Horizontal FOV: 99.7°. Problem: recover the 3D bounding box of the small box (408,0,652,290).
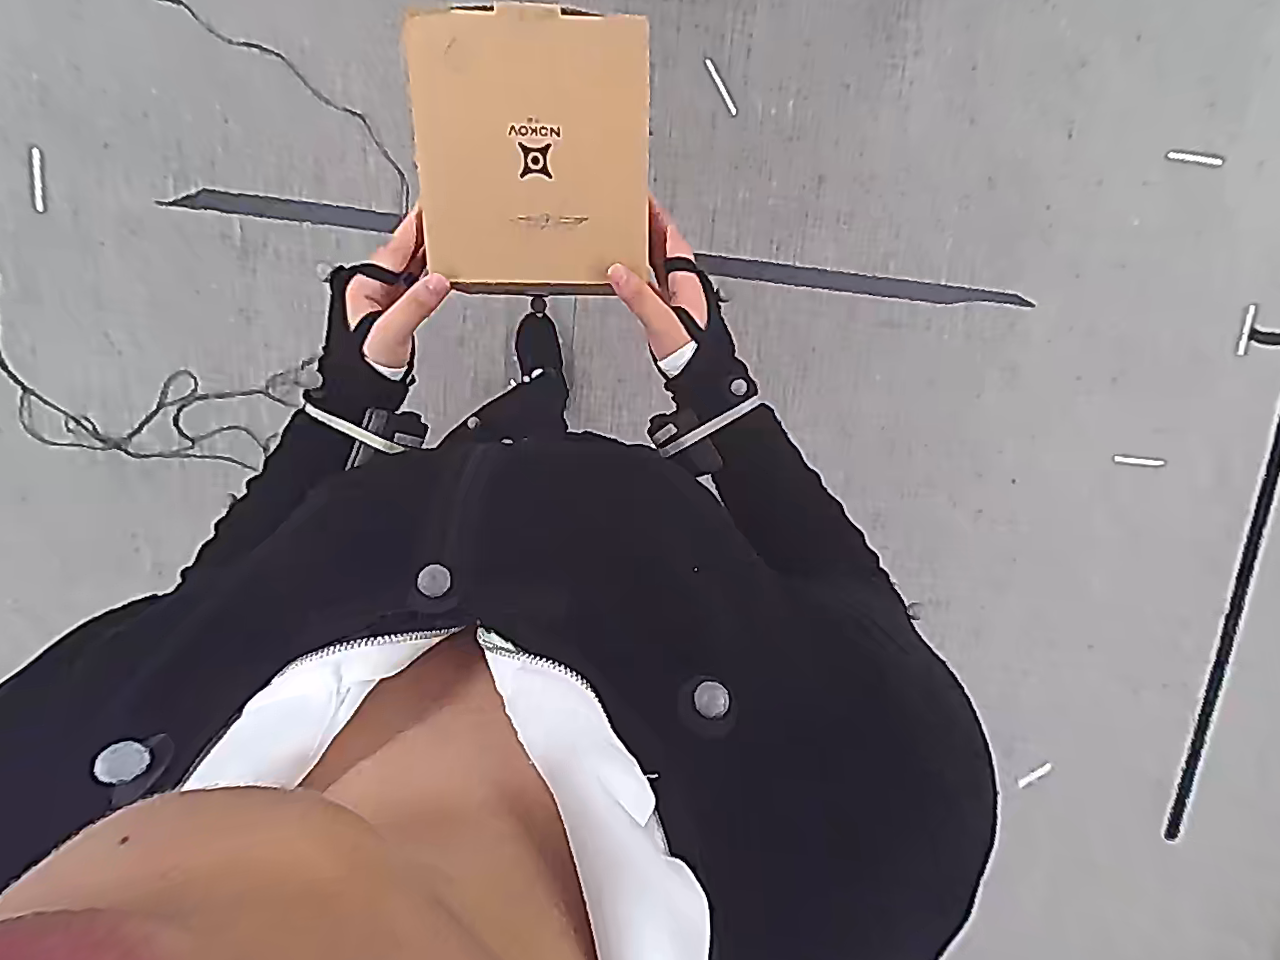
[{"bbox_3d":[-0.082,-0.262,0.462,0.168,0.176,0.179,-1,106,-5],"label":"small box"}]
